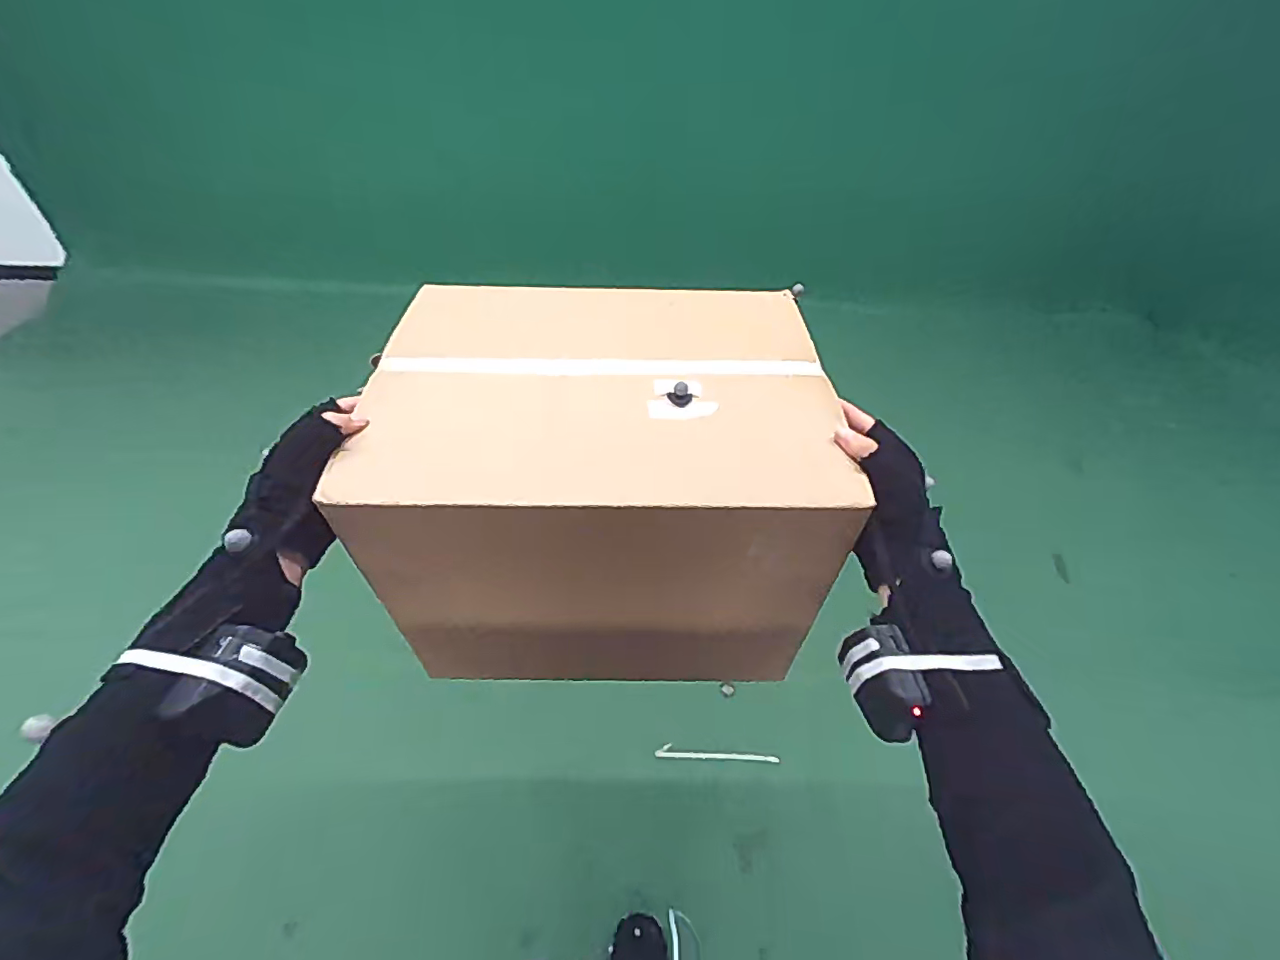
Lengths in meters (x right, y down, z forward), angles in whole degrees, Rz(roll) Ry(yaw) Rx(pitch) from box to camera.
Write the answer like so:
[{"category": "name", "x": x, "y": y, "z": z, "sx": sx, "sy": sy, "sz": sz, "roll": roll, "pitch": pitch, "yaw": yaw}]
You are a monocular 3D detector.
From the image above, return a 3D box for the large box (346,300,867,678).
[{"category": "large box", "x": -0.032, "y": 0.013, "z": 0.614, "sx": 0.408, "sy": 0.320, "sz": 0.320, "roll": 1, "pitch": 48, "yaw": -2}]
